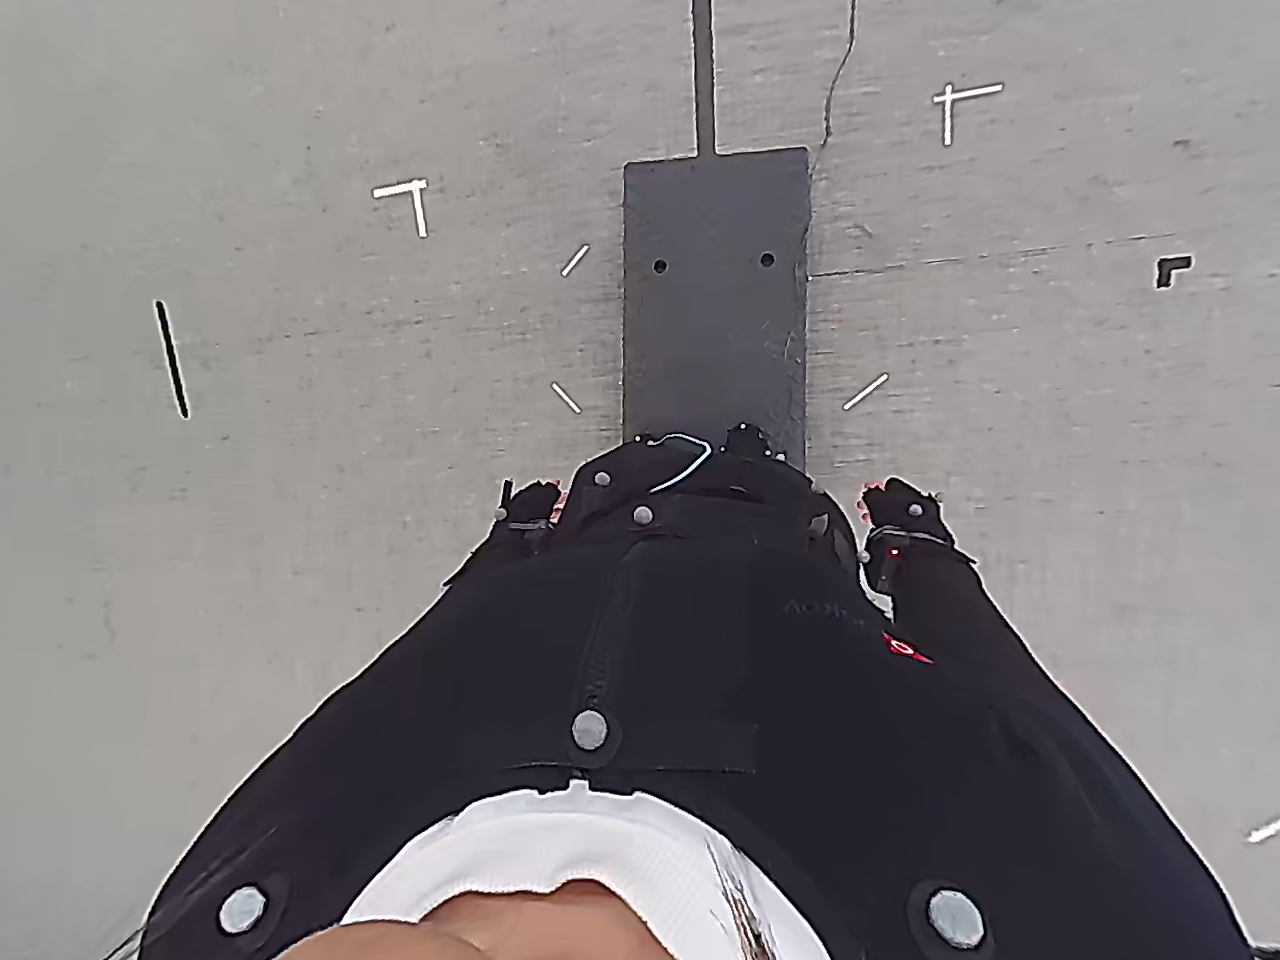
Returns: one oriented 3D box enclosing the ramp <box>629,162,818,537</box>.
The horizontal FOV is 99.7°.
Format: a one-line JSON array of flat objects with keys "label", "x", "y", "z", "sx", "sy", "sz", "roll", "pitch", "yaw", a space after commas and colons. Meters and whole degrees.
[{"label": "ramp", "x": 0.214, "y": -0.345, "z": 1.470, "sx": 0.509, "sy": 0.206, "sz": 0.991, "roll": -3, "pitch": 97, "yaw": 12}]
